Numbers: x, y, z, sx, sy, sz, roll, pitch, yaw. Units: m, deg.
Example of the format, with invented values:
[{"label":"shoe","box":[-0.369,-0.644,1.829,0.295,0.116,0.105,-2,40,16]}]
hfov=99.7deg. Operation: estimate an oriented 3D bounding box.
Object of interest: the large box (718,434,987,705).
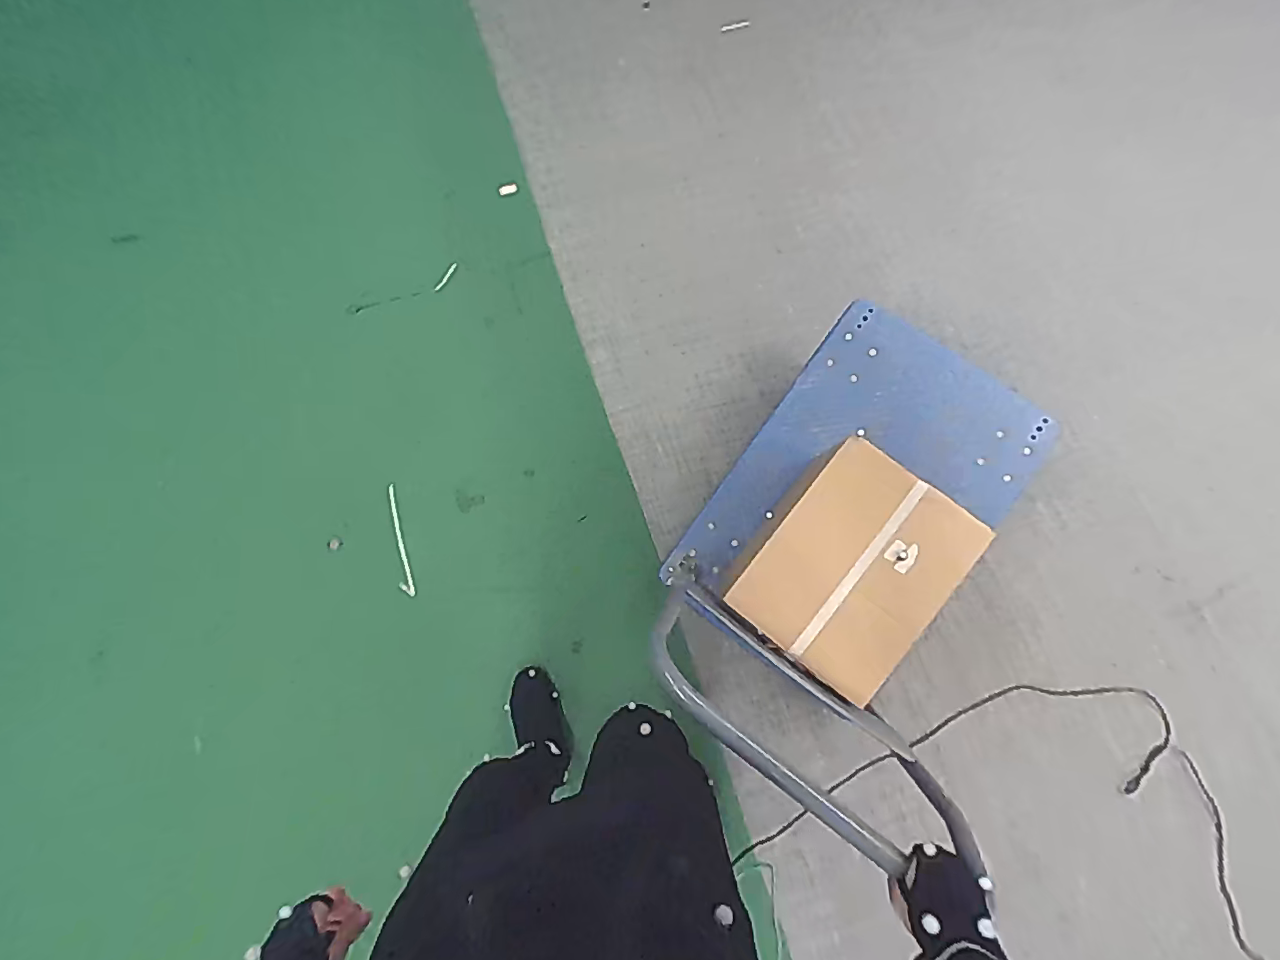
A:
[{"label":"large box","box":[0.406,0.178,1.138,0.320,0.320,0.408,38,87,8]}]
